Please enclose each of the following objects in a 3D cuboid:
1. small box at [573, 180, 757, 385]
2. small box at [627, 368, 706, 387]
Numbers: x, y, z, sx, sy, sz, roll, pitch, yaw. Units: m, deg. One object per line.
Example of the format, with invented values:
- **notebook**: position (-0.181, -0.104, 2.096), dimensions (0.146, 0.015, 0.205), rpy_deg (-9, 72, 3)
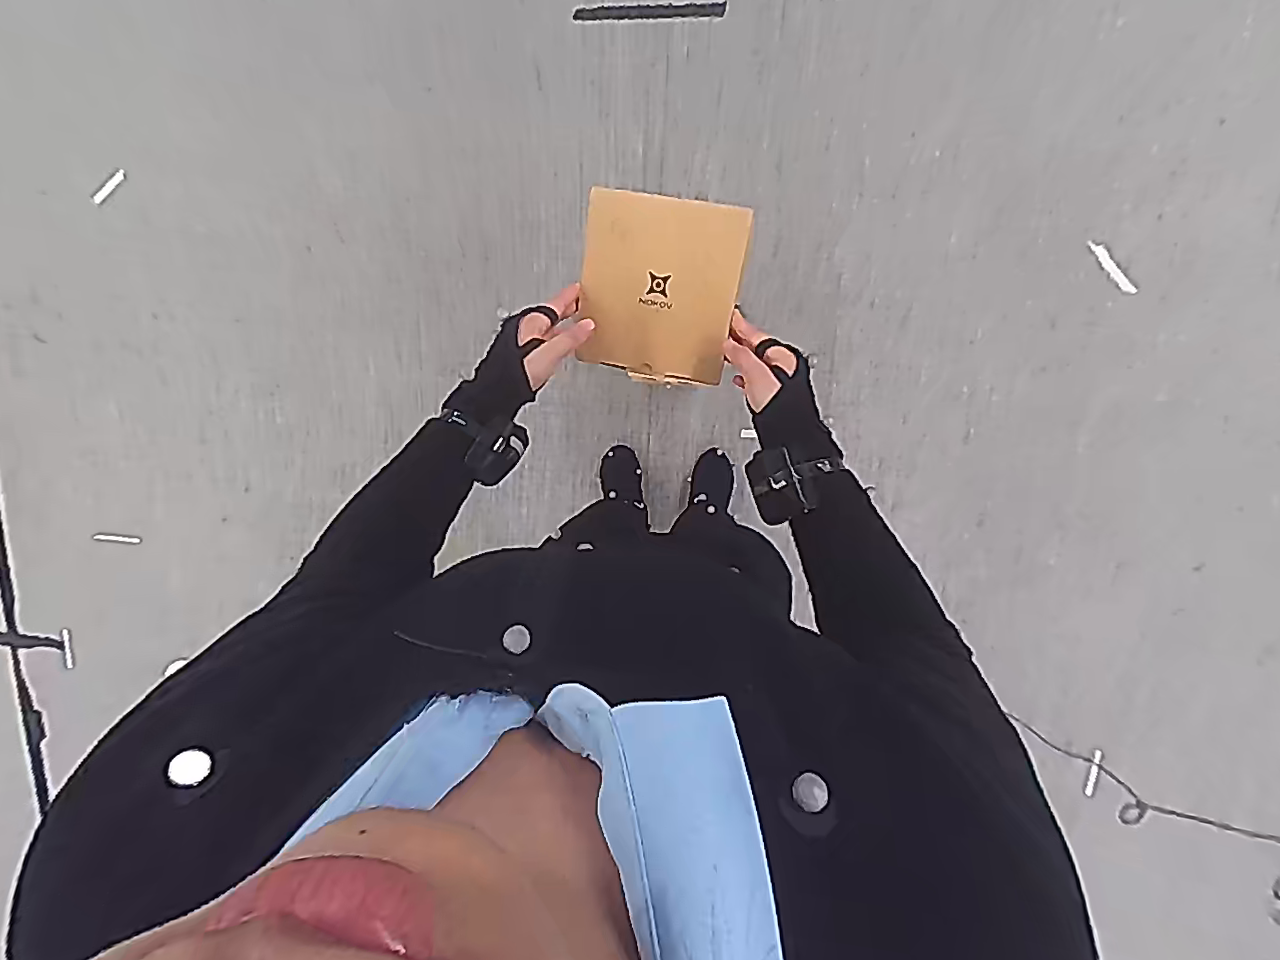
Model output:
- **small box**: position (0.033, -0.225, 0.622), dimensions (0.168, 0.176, 0.179), rpy_deg (12, 114, 7)
- **small box**: position (0.072, -0.300, 1.167), dimensions (0.168, 0.176, 0.179), rpy_deg (8, 101, 5)
